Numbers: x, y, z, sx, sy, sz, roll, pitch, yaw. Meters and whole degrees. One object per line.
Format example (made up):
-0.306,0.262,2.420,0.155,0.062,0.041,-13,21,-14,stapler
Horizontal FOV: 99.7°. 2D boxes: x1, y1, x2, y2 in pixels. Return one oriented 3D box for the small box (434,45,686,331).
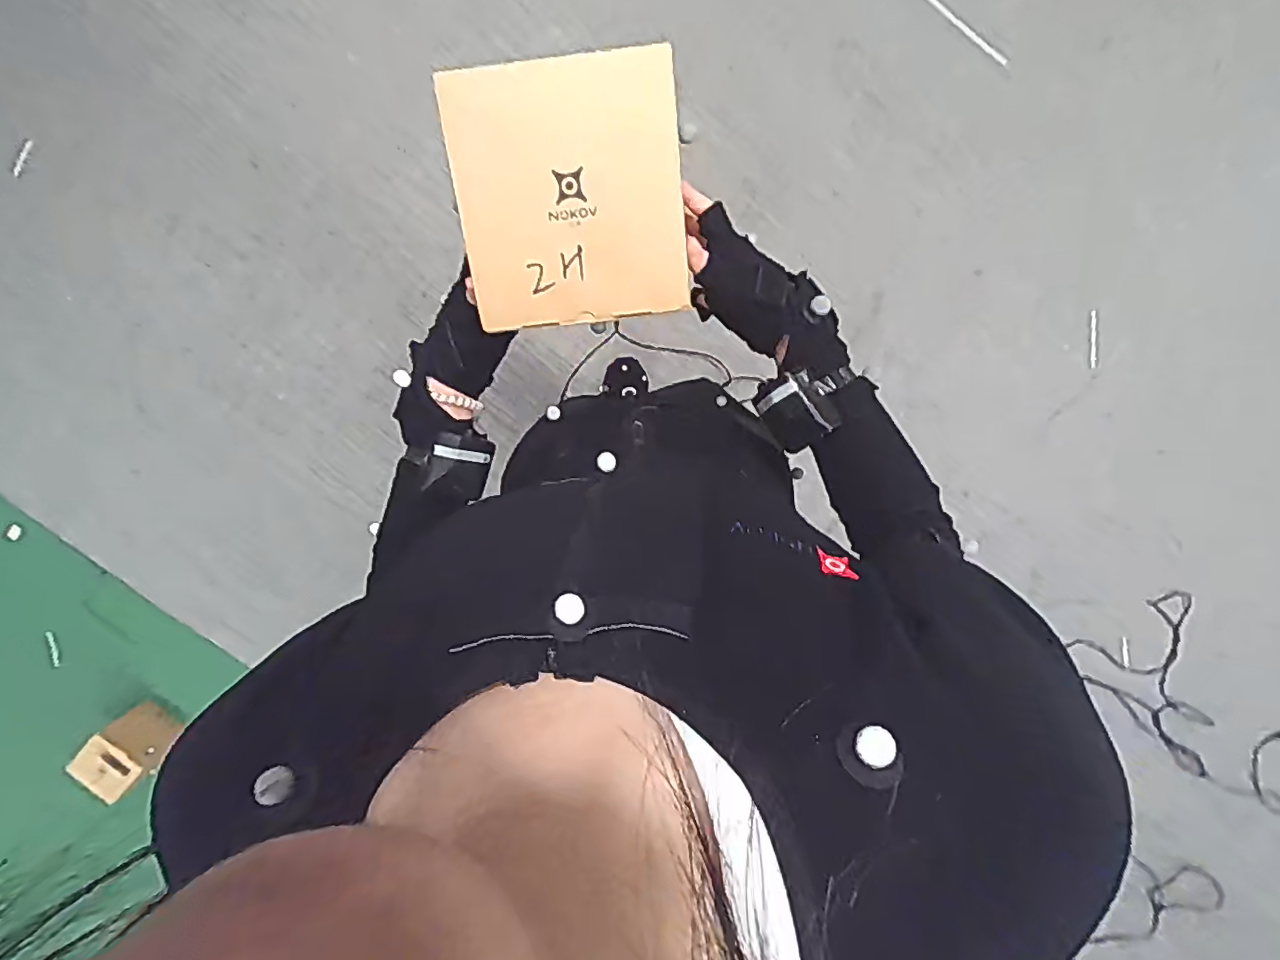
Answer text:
-0.053,-0.228,0.464,0.168,0.176,0.179,-5,110,2,small box
